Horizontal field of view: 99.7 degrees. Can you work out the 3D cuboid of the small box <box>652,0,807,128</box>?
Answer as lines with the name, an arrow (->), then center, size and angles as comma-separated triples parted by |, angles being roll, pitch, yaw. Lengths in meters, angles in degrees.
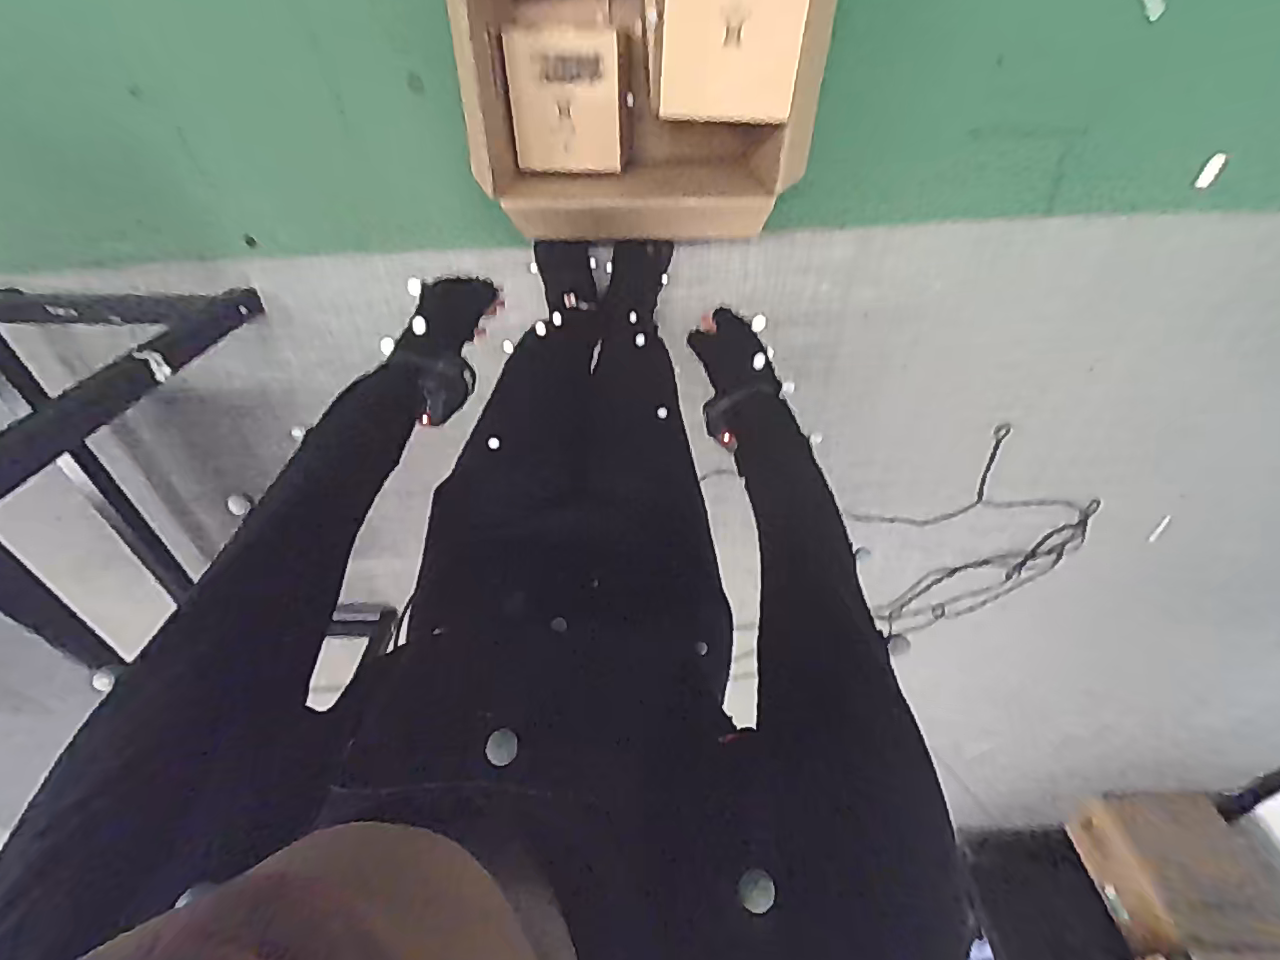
small box -> 0.103, -0.562, 0.683 | 0.168, 0.176, 0.179 | 0, 129, -2
